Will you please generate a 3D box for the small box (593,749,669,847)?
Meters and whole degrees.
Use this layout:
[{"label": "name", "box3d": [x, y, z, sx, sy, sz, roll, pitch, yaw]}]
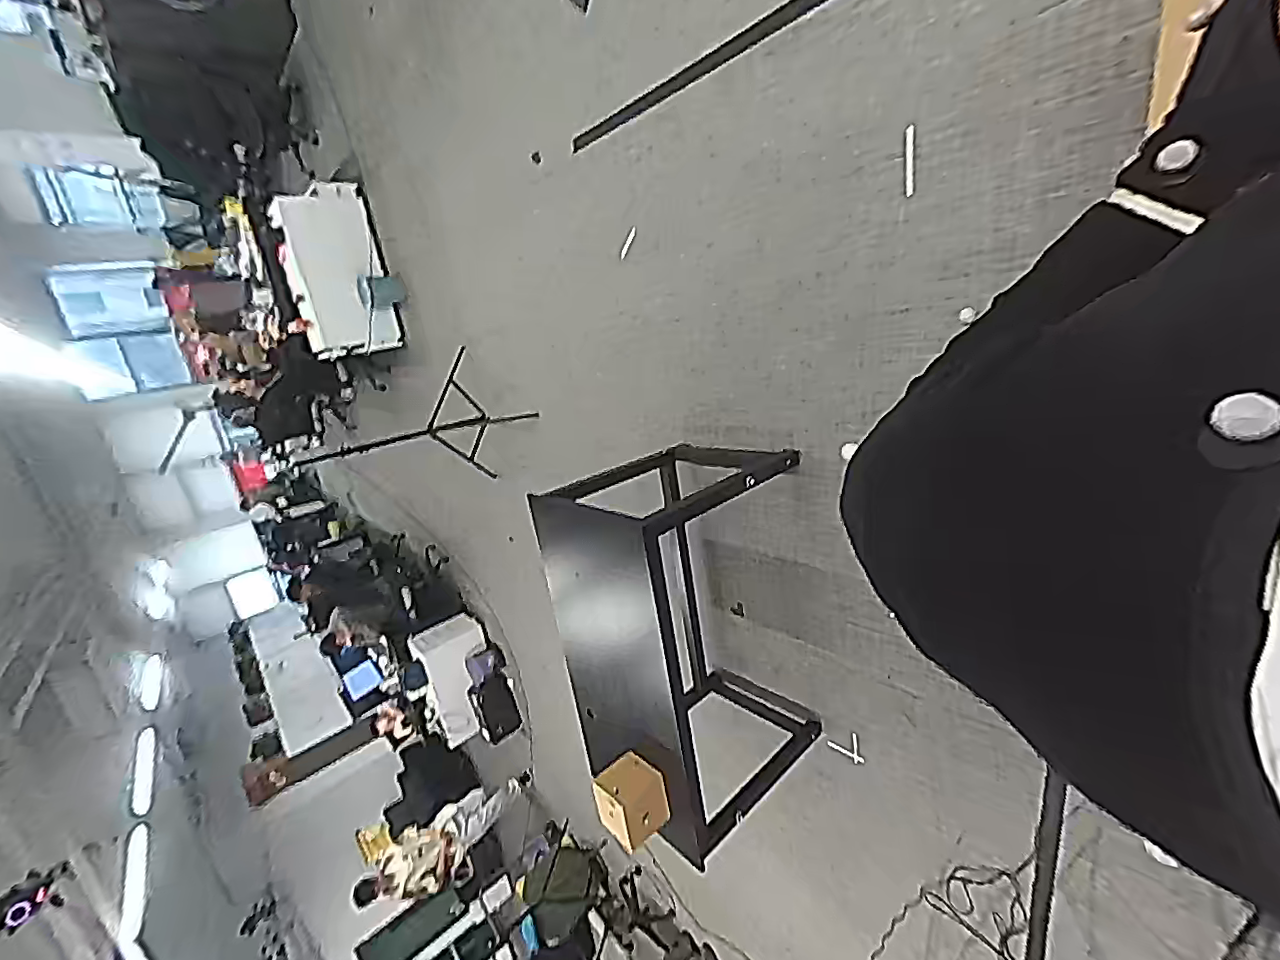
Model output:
[{"label": "small box", "box3d": [-0.025, 1.023, 1.755, 0.168, 0.176, 0.179, 8, 114, 50]}]
